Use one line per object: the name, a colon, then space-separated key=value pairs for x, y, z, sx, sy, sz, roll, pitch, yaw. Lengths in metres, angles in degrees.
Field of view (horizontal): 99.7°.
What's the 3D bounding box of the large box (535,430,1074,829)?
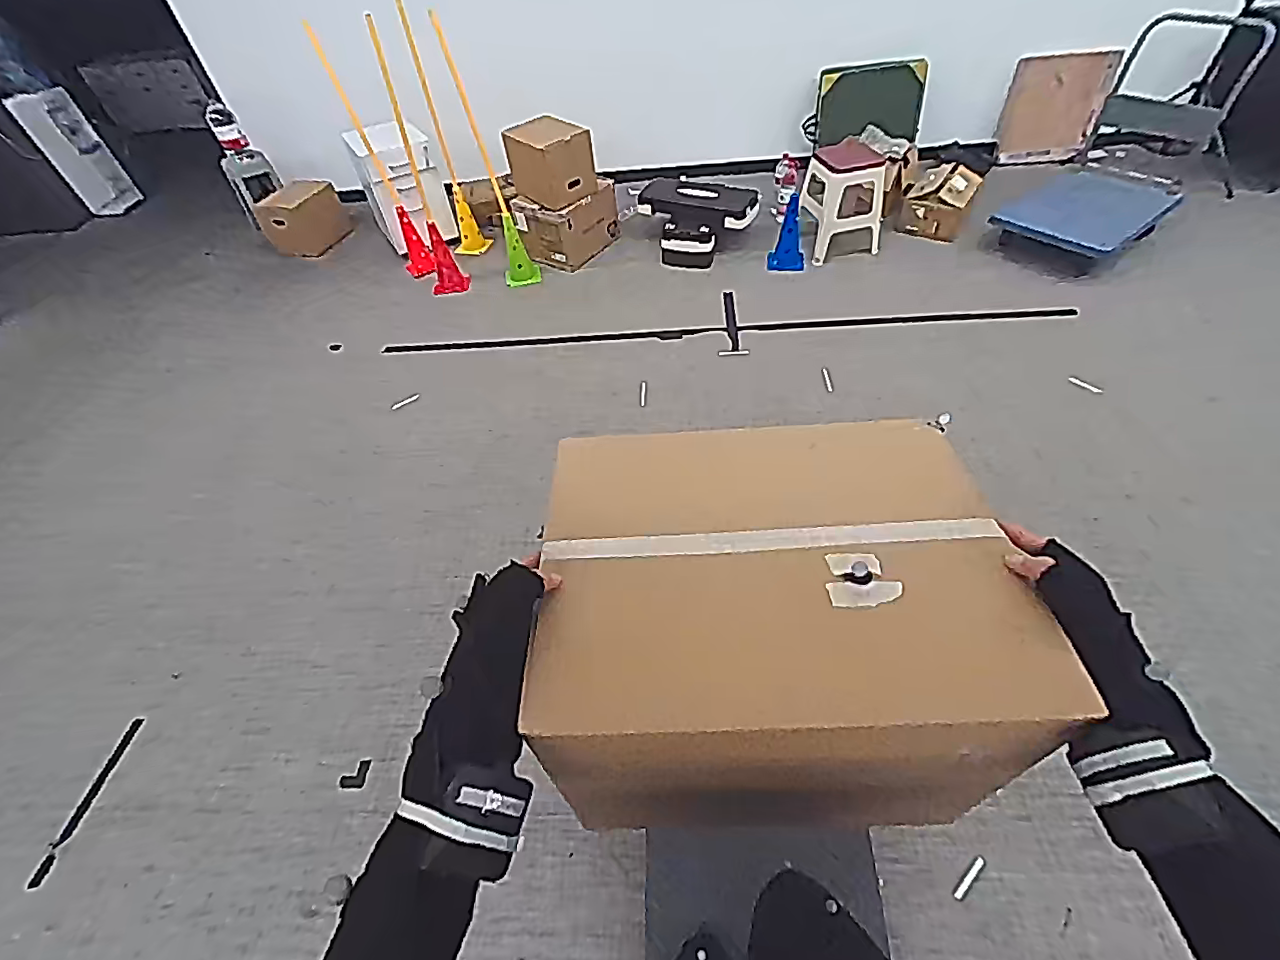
large box: x=0.123 y=0.169 z=0.603 sx=0.408 sy=0.320 sz=0.320 roll=-3 pitch=46 yaw=3
